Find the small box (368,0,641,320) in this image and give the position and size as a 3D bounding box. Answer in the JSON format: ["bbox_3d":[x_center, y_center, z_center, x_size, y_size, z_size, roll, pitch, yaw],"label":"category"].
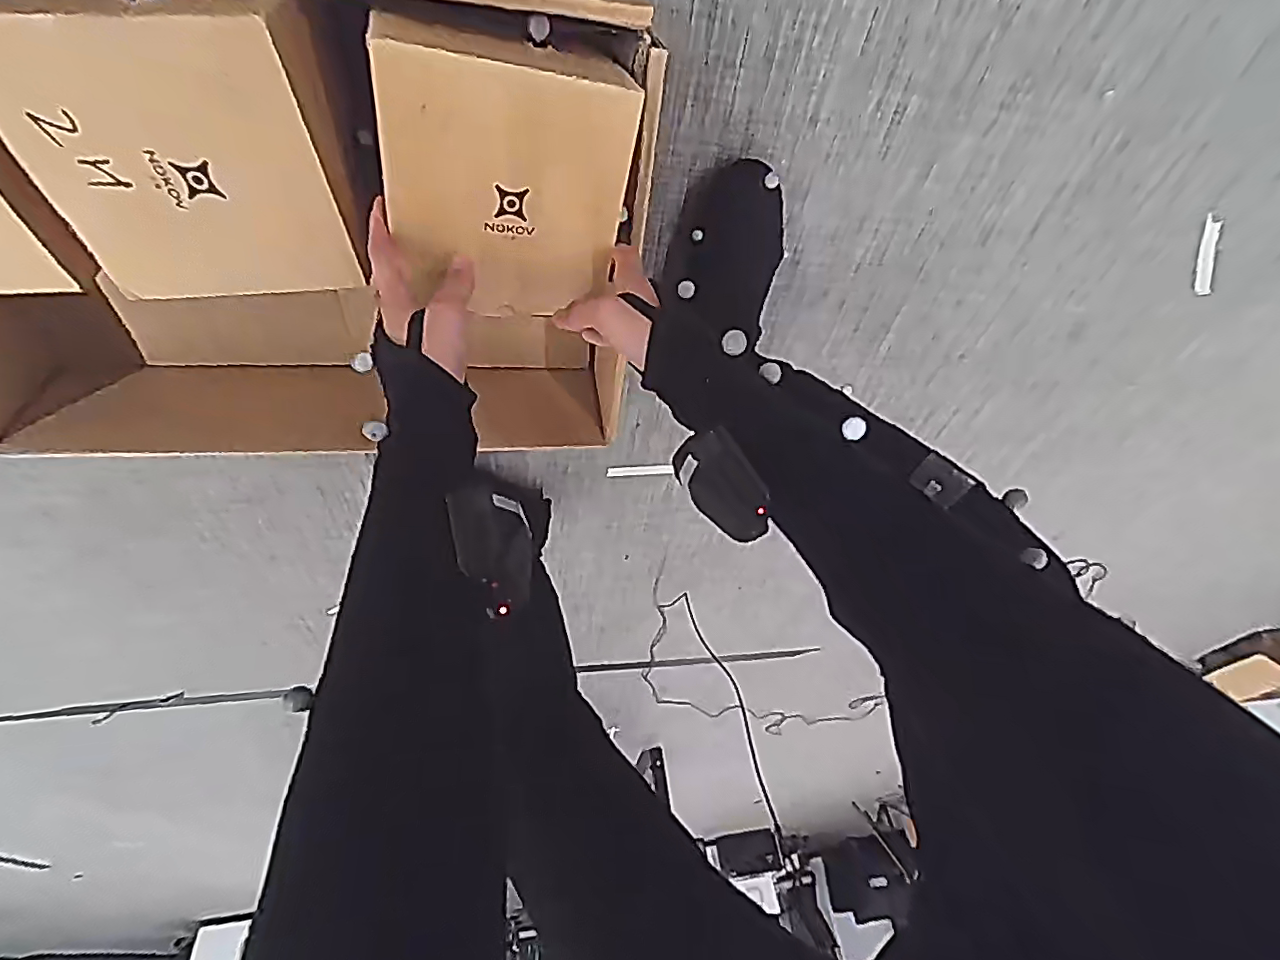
[{"bbox_3d":[-0.115,-0.251,0.427,0.168,0.176,0.179,-3,142,-20],"label":"small box"}]
